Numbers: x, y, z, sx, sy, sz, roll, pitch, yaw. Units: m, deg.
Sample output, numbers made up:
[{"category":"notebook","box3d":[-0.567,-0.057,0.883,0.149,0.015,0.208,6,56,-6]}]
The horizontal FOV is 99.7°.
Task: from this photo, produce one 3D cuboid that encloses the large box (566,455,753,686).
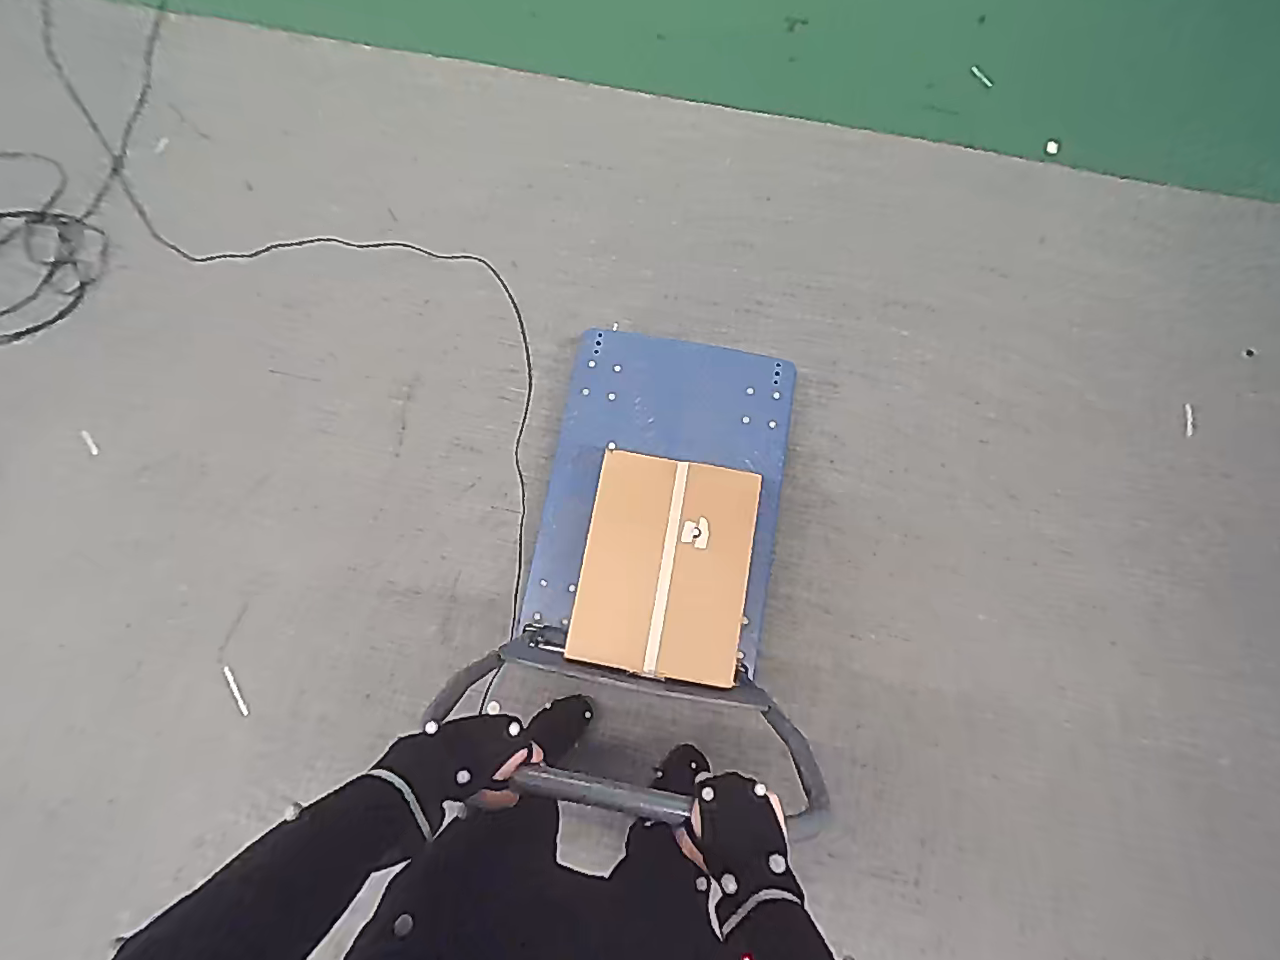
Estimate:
[{"category":"large box","box3d":[0.044,0.199,1.174,0.320,0.320,0.408,10,76,1]}]
